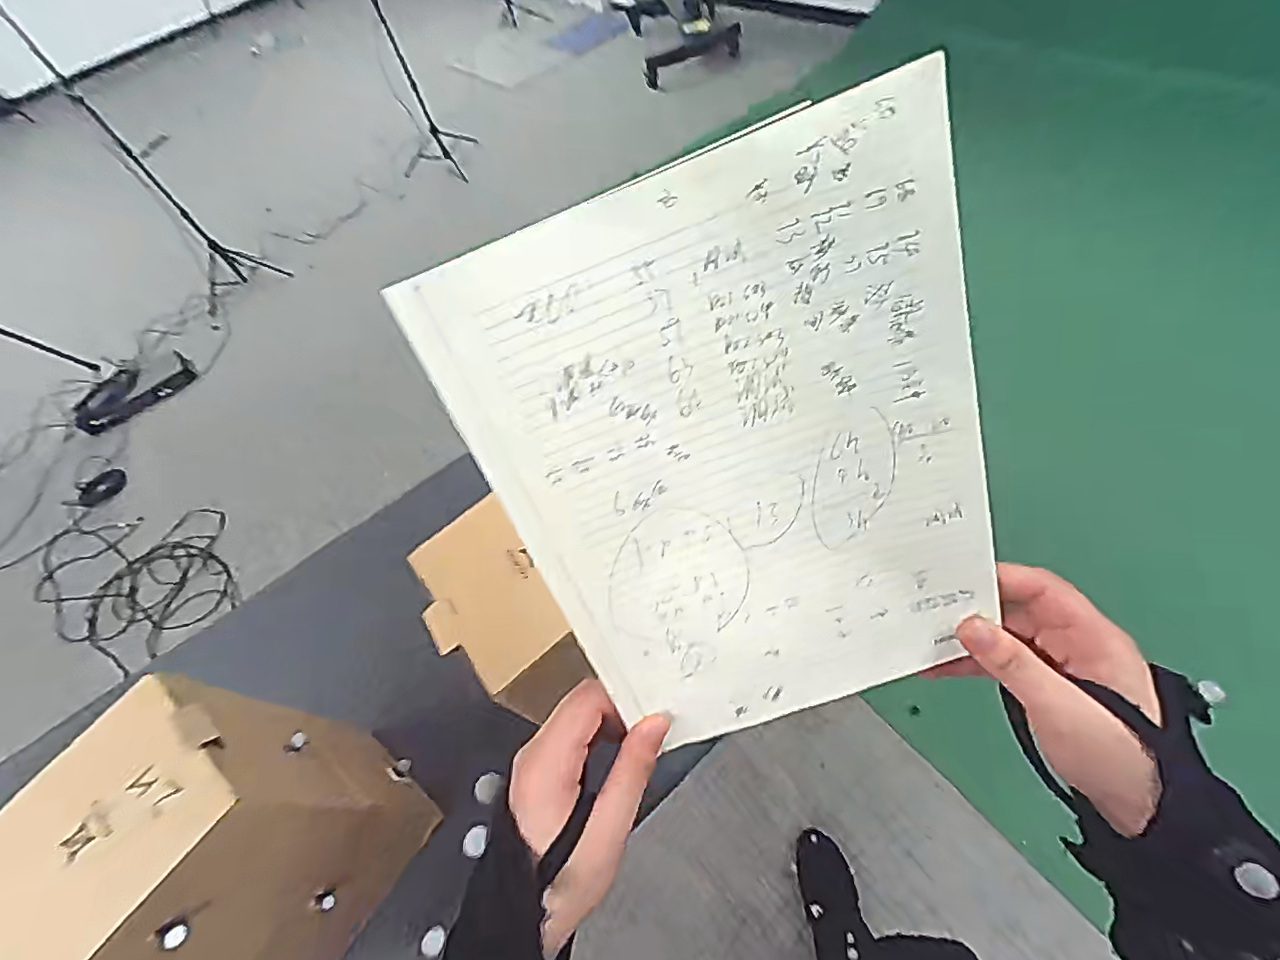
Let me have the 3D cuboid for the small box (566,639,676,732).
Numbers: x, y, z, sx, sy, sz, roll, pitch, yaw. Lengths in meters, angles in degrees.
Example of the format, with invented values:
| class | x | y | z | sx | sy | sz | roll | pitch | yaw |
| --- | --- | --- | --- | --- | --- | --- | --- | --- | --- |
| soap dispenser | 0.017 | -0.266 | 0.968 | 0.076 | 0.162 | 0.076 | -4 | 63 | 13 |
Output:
| class | x | y | z | sx | sy | sz | roll | pitch | yaw |
| --- | --- | --- | --- | --- | --- | --- | --- | --- | --- |
| small box | -0.068 | 0.188 | 0.683 | 0.168 | 0.176 | 0.179 | -25 | 55 | -4 |

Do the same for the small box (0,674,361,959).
| class | x | y | z | sx | sy | sz | roll | pitch | yaw |
| --- | --- | --- | --- | --- | --- | --- | --- | --- | --- |
| small box | -0.394 | 0.310 | 0.473 | 0.168 | 0.176 | 0.179 | 29 | 67 | 27 |

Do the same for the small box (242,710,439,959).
| class | x | y | z | sx | sy | sz | roll | pitch | yaw |
| --- | --- | --- | --- | --- | --- | --- | --- | --- | --- |
| small box | -0.367 | 0.398 | 0.610 | 0.168 | 0.176 | 0.179 | 26 | 65 | 25 |

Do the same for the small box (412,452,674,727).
| class | x | y | z | sx | sy | sz | roll | pitch | yaw |
| --- | --- | --- | --- | --- | --- | --- | --- | --- | --- |
| small box | -0.080 | 0.112 | 0.537 | 0.179 | 0.176 | 0.168 | -39 | 57 | -13 |
